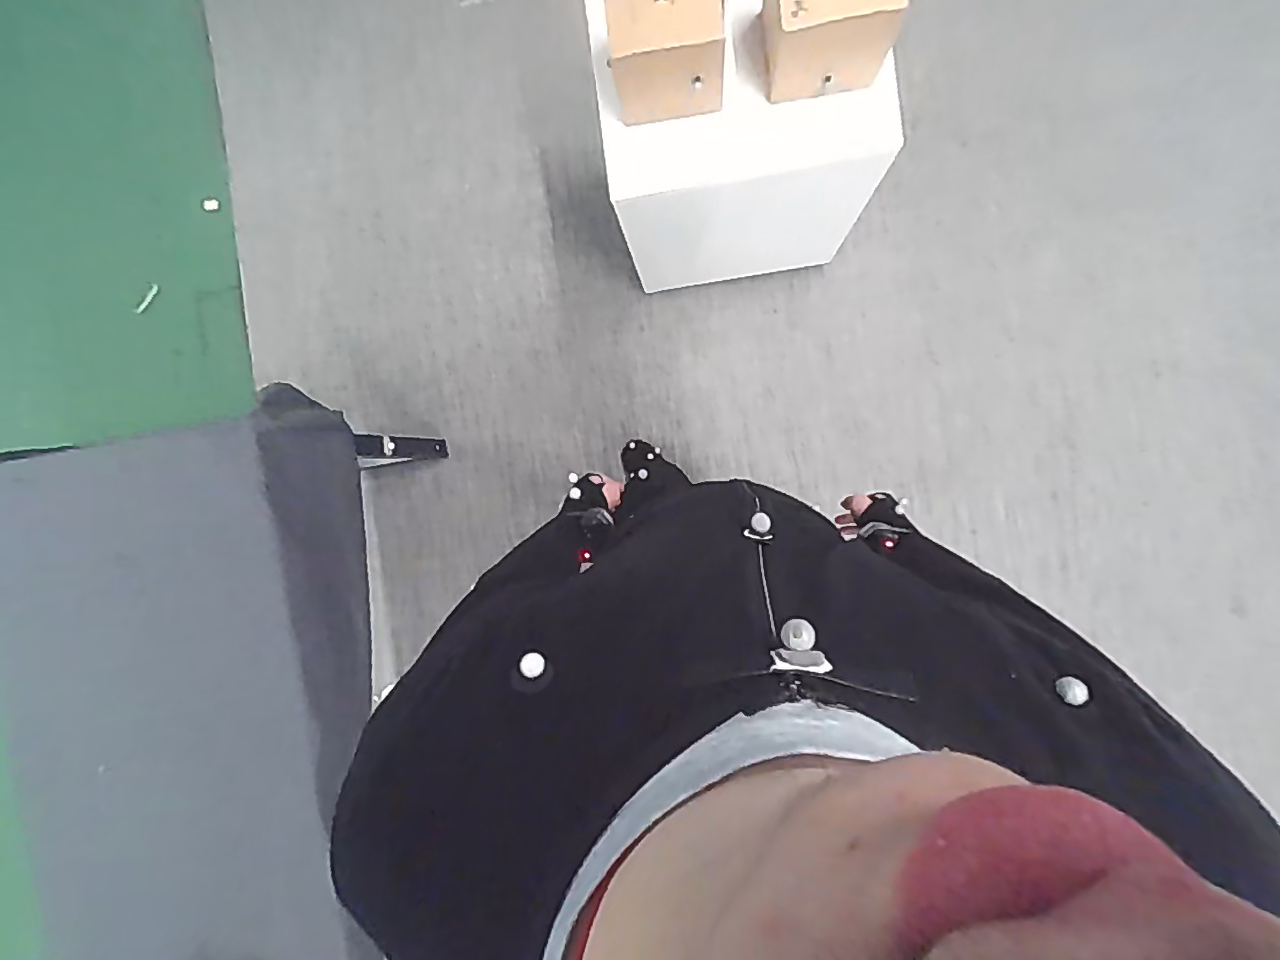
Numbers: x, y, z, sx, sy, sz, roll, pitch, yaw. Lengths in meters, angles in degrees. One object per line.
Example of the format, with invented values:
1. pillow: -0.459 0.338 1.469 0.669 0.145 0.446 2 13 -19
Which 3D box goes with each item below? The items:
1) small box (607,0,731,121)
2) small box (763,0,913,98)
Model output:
1. small box: 0.045 -0.713 0.859 0.179 0.176 0.168 -6 91 7
2. small box: 0.293 -0.731 0.830 0.179 0.176 0.168 -5 92 6
